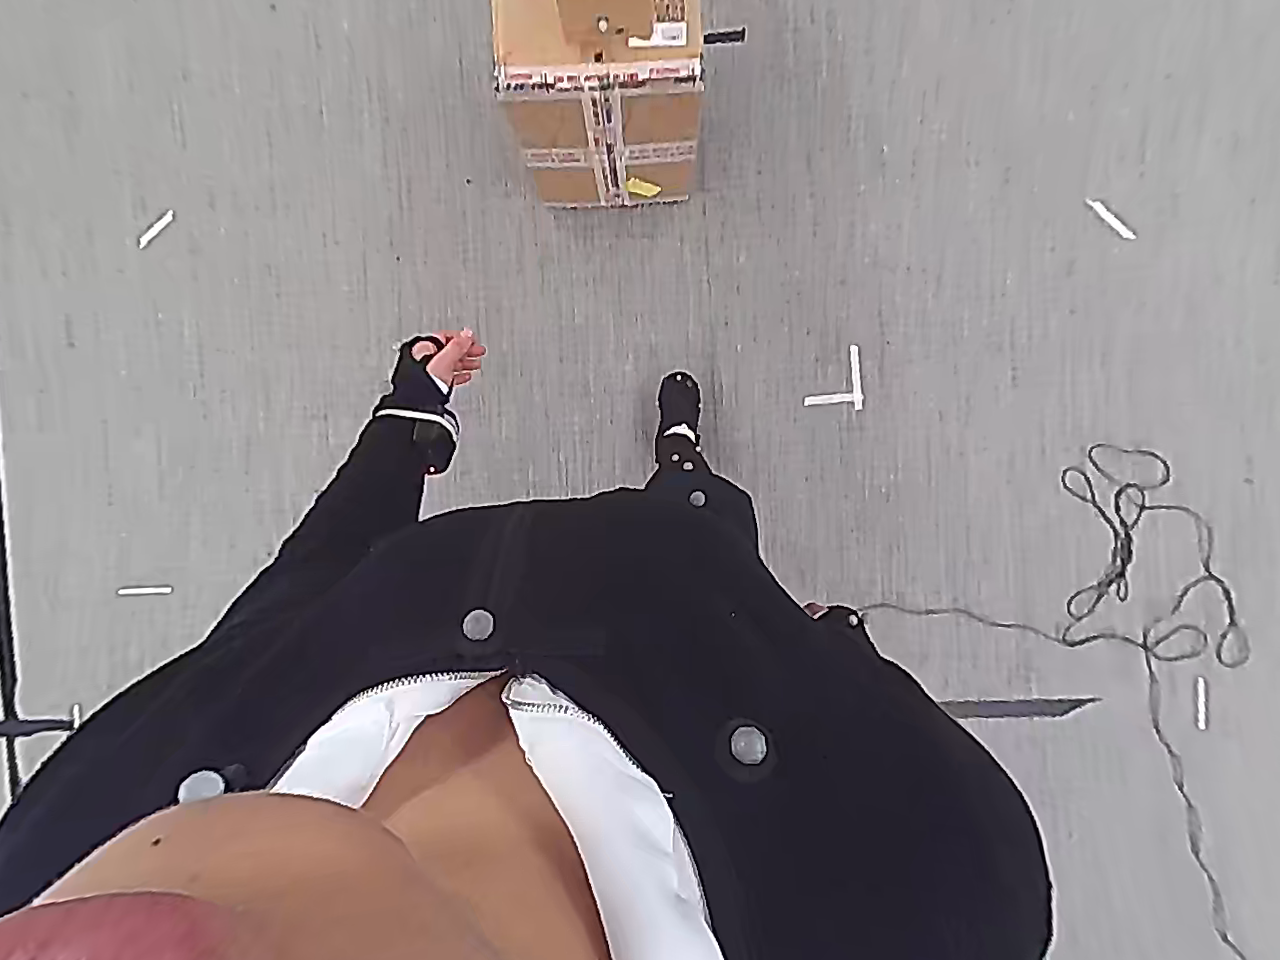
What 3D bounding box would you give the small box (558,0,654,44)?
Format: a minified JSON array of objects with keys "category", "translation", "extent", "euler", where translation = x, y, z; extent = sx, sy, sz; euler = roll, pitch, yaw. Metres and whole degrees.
[{"category":"small box","translation":[-0.061,-0.884,0.907],"extent":[0.168,0.176,0.179],"euler":[-3,95,2]}]
